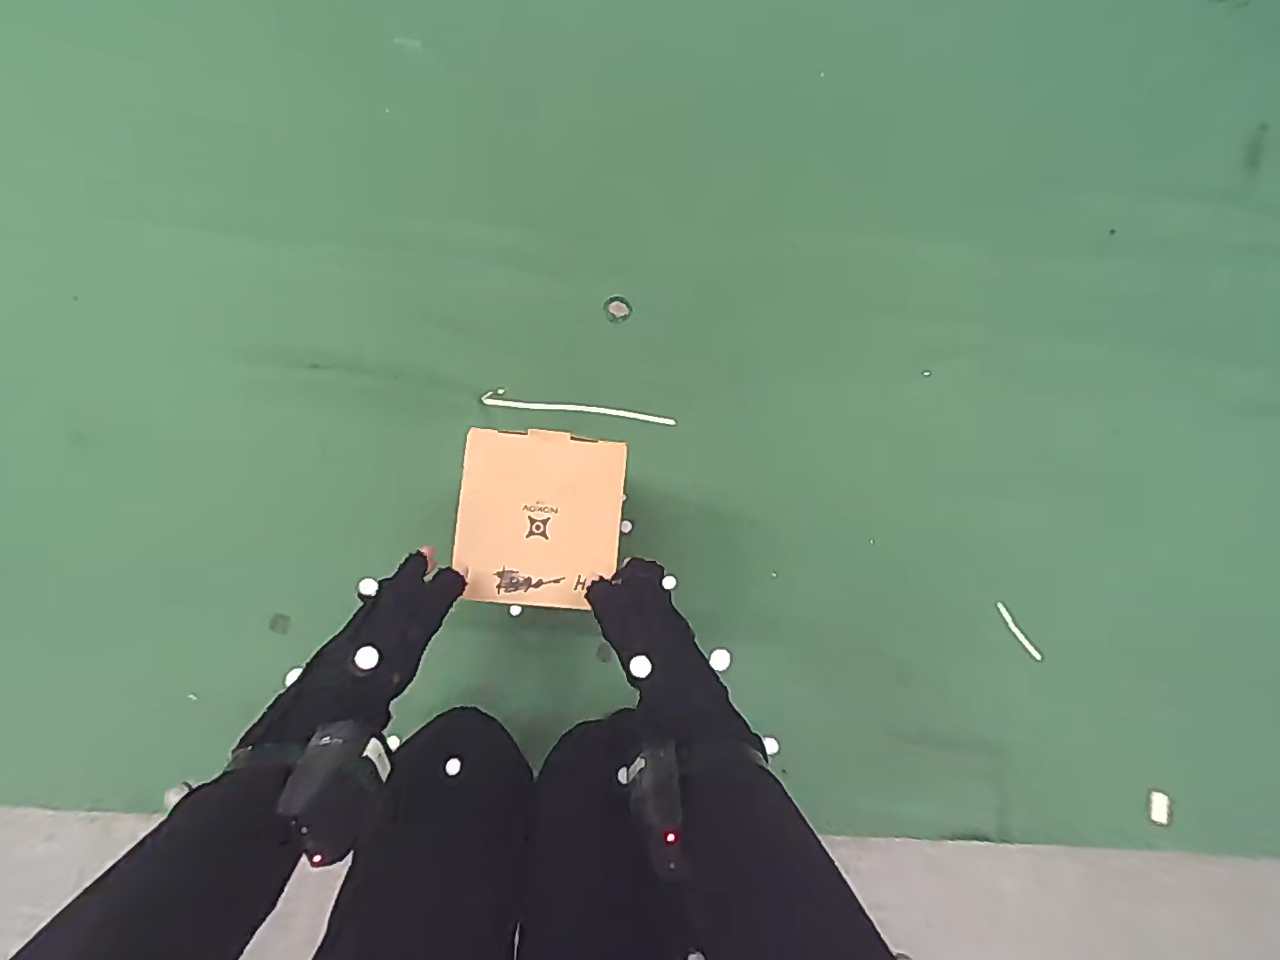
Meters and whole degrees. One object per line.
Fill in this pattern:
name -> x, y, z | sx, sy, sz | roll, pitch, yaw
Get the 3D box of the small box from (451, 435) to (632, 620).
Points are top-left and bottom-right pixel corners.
small box -> -0.104, 0.056, 0.626 | 0.168, 0.176, 0.179 | 6, 84, -3
